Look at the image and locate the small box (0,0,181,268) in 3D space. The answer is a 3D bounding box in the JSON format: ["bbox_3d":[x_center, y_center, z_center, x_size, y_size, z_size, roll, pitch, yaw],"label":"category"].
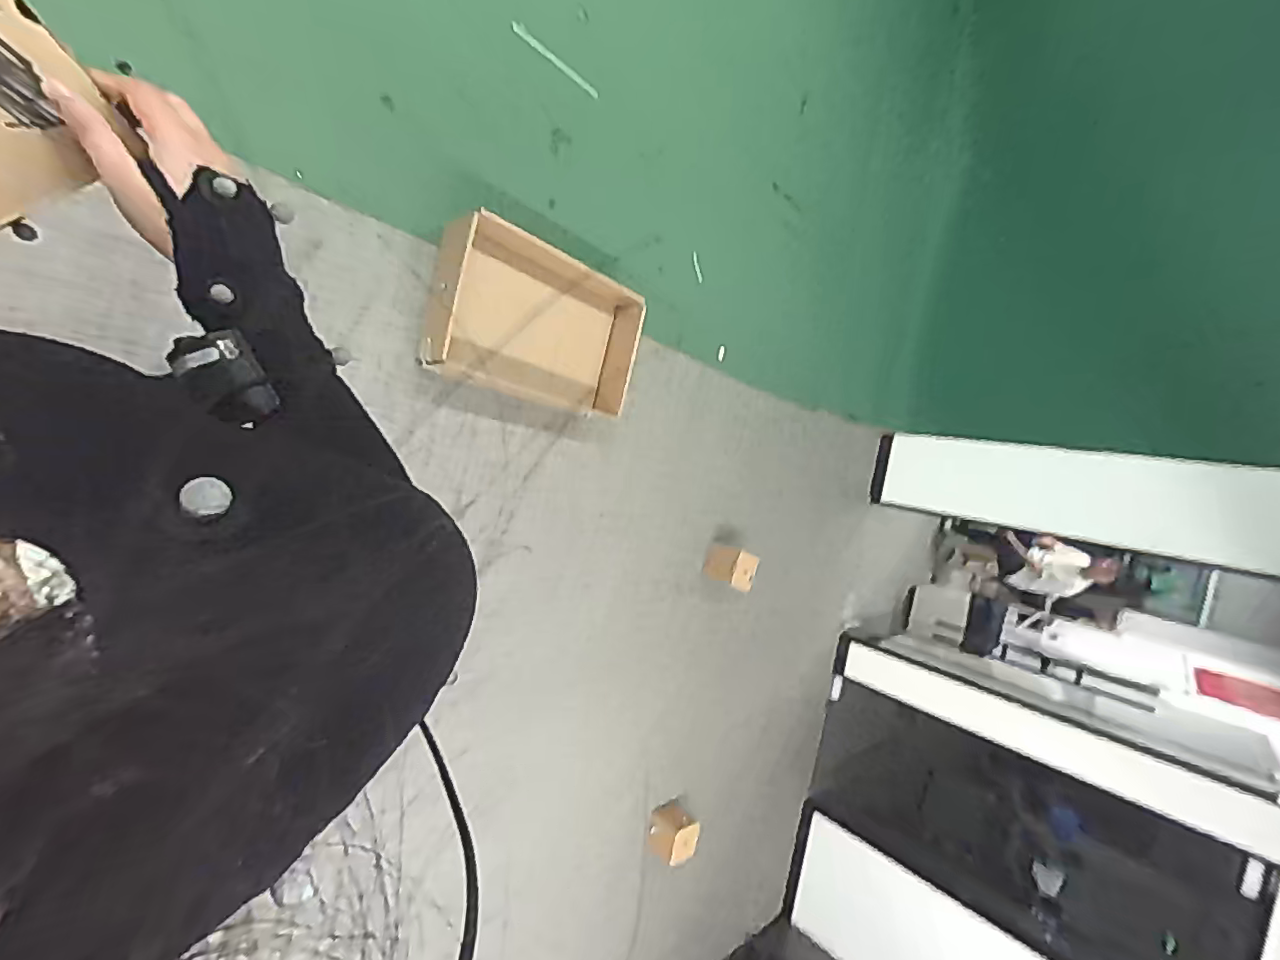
[{"bbox_3d":[-0.462,-0.237,0.345,0.179,0.176,0.168,-48,139,-23],"label":"small box"}]

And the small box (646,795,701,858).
[{"bbox_3d":[0.158,1.639,2.569,0.179,0.176,0.168,10,92,-44],"label":"small box"}]

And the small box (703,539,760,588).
[{"bbox_3d":[0.423,0.385,2.514,0.179,0.176,0.168,26,81,-44],"label":"small box"}]
